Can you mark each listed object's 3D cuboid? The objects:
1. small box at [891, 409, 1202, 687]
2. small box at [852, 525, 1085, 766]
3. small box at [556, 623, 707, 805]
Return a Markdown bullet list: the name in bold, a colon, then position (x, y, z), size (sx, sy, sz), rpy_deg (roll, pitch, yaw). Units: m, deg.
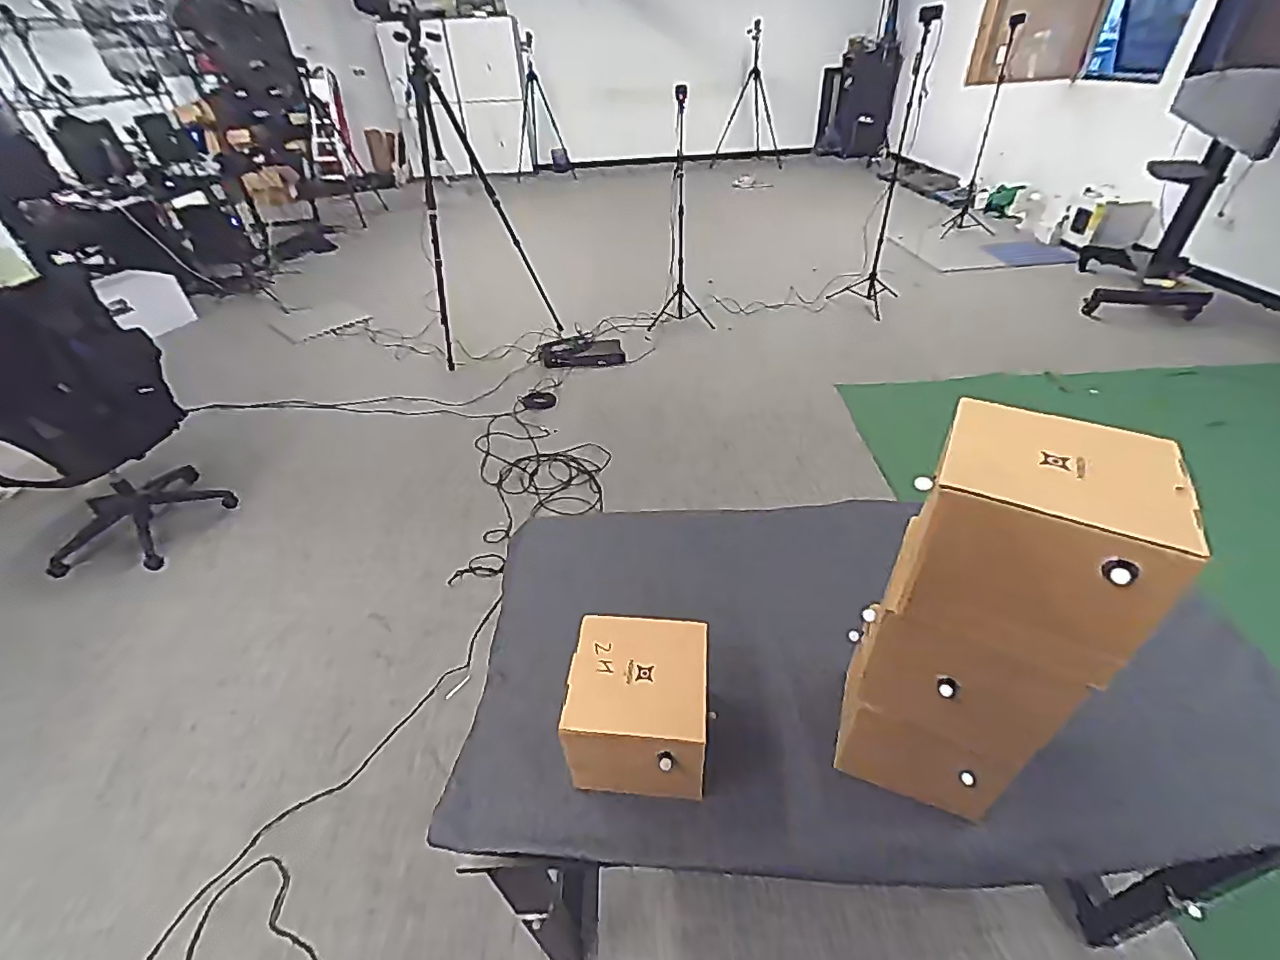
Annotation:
- **small box**: position (0.356, 0.058, 0.508), size (0.179, 0.176, 0.168), rpy_deg (19, 42, 25)
- **small box**: position (0.360, 0.185, 0.609), size (0.179, 0.176, 0.168), rpy_deg (18, 42, 26)
- **small box**: position (-0.001, 0.317, 0.734), size (0.179, 0.176, 0.168), rpy_deg (2, 39, 7)
